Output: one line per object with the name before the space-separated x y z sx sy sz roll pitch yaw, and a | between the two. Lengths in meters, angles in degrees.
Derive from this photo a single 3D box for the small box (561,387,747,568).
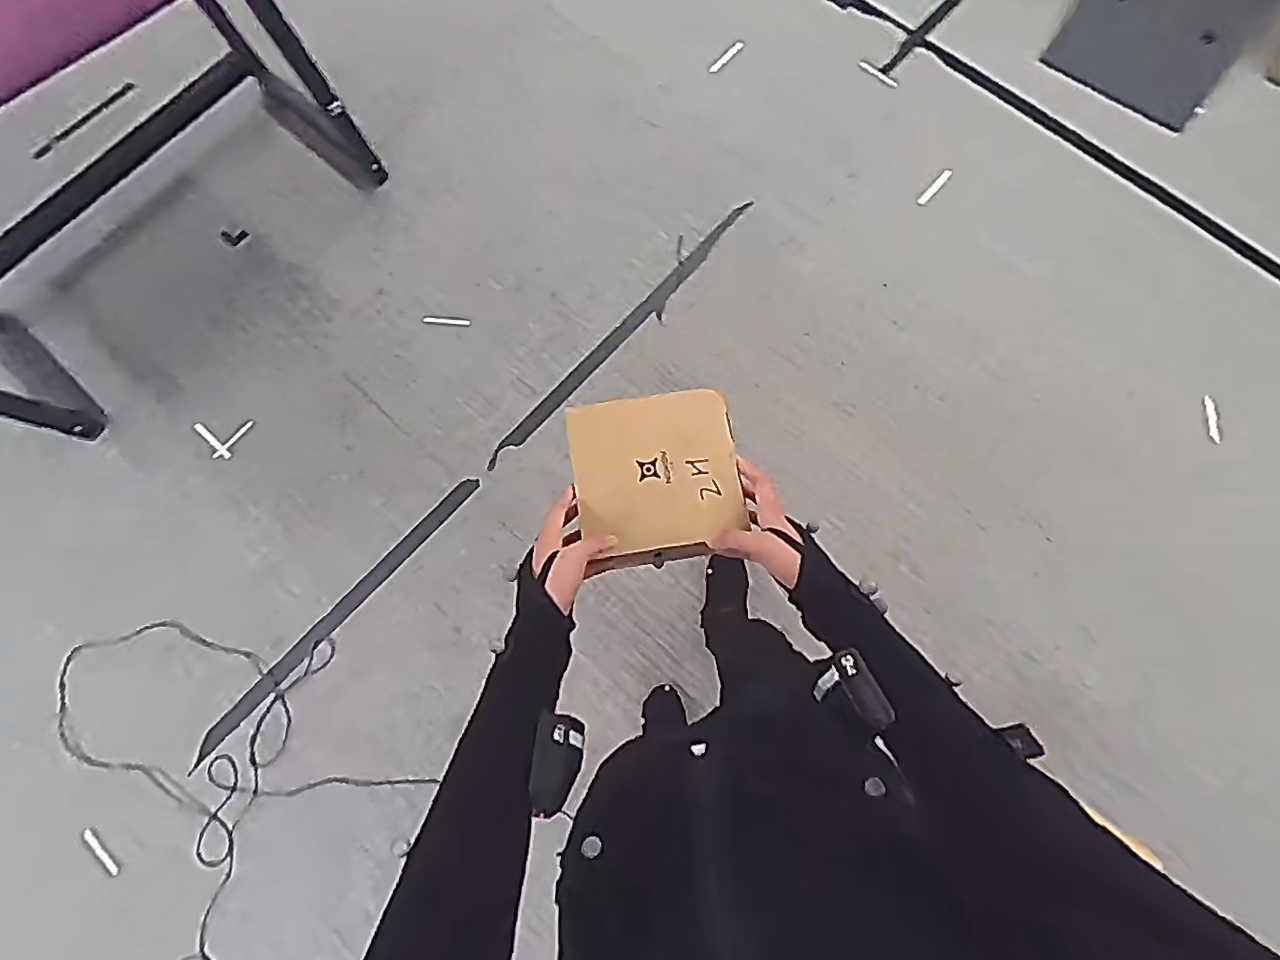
small box | 0.010 0.007 0.642 0.179 0.176 0.168 -8 77 -5
